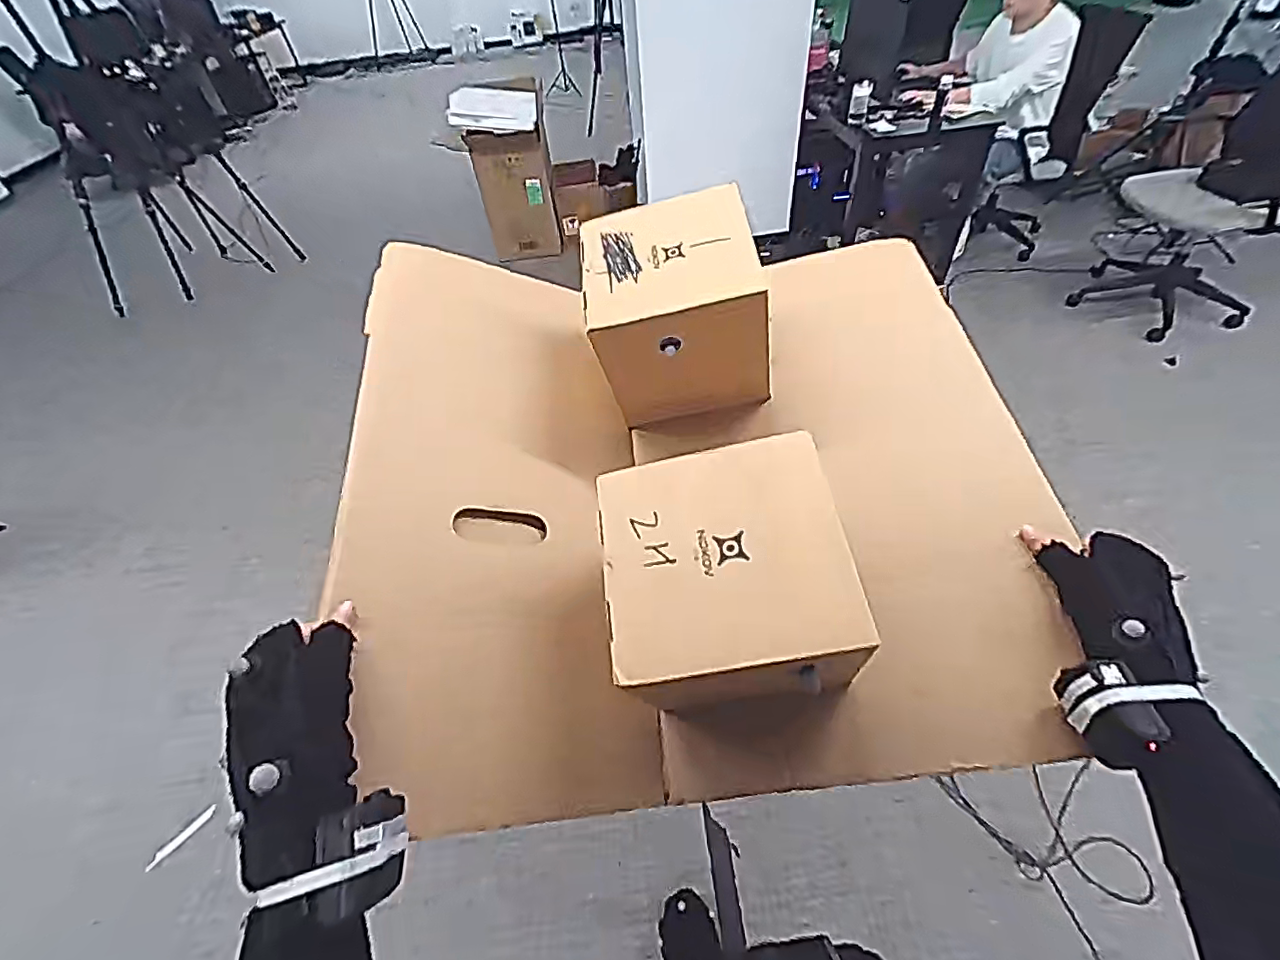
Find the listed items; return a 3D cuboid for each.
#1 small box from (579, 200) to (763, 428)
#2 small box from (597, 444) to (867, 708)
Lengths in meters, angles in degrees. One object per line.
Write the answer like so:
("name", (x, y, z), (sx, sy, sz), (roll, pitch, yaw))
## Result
("small box", (0.040, -0.179, 0.624), (0.179, 0.176, 0.168), (-11, 60, 8))
("small box", (0.074, 0.094, 0.468), (0.179, 0.176, 0.168), (-12, 60, 9))
